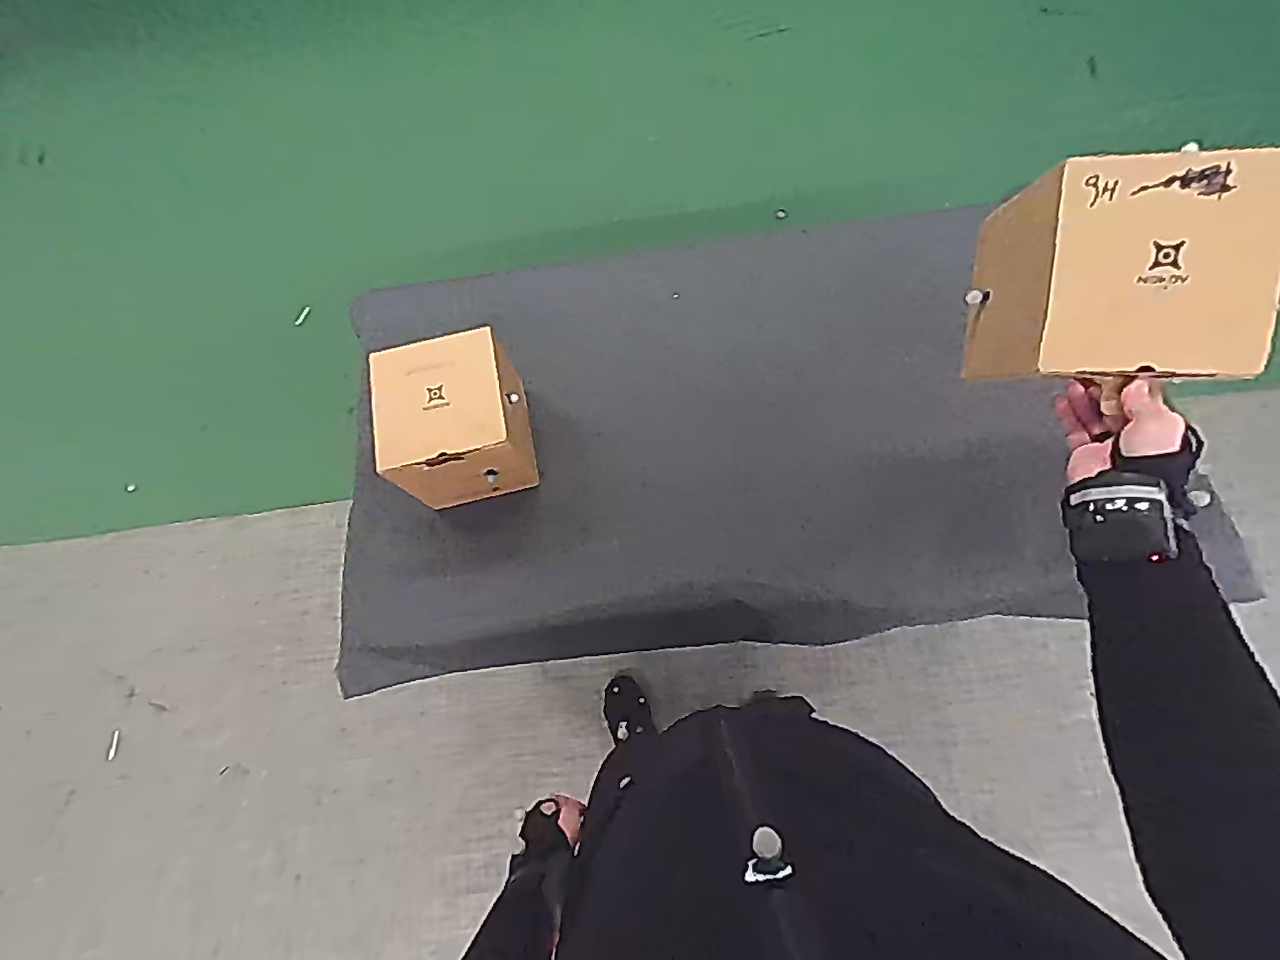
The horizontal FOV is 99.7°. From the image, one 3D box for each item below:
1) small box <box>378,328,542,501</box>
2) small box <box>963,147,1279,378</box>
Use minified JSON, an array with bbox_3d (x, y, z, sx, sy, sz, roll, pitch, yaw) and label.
[{"bbox_3d":[-0.247,-0.080,0.769,0.168,0.176,0.179,-13,70,-1],"label":"small box"},{"bbox_3d":[0.438,-0.190,0.522,0.168,0.176,0.179,3,100,9],"label":"small box"}]
